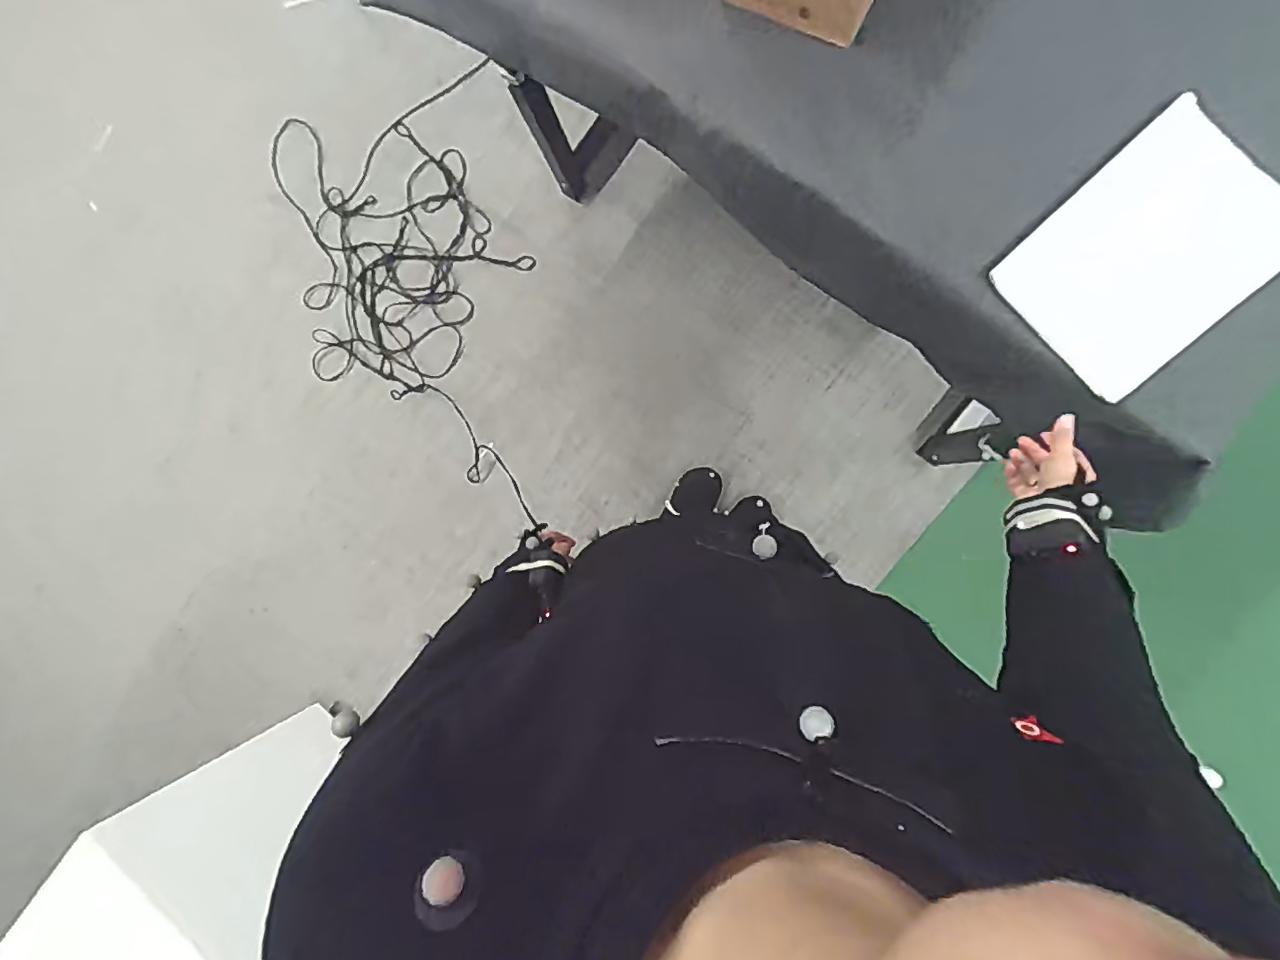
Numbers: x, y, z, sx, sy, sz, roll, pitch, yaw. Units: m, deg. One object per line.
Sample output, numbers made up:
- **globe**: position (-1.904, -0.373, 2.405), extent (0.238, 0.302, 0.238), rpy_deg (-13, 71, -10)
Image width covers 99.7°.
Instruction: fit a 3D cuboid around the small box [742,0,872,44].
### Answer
- **small box**: position (0.197, -0.610, 0.554), extent (0.168, 0.176, 0.179), rpy_deg (27, 92, 6)
